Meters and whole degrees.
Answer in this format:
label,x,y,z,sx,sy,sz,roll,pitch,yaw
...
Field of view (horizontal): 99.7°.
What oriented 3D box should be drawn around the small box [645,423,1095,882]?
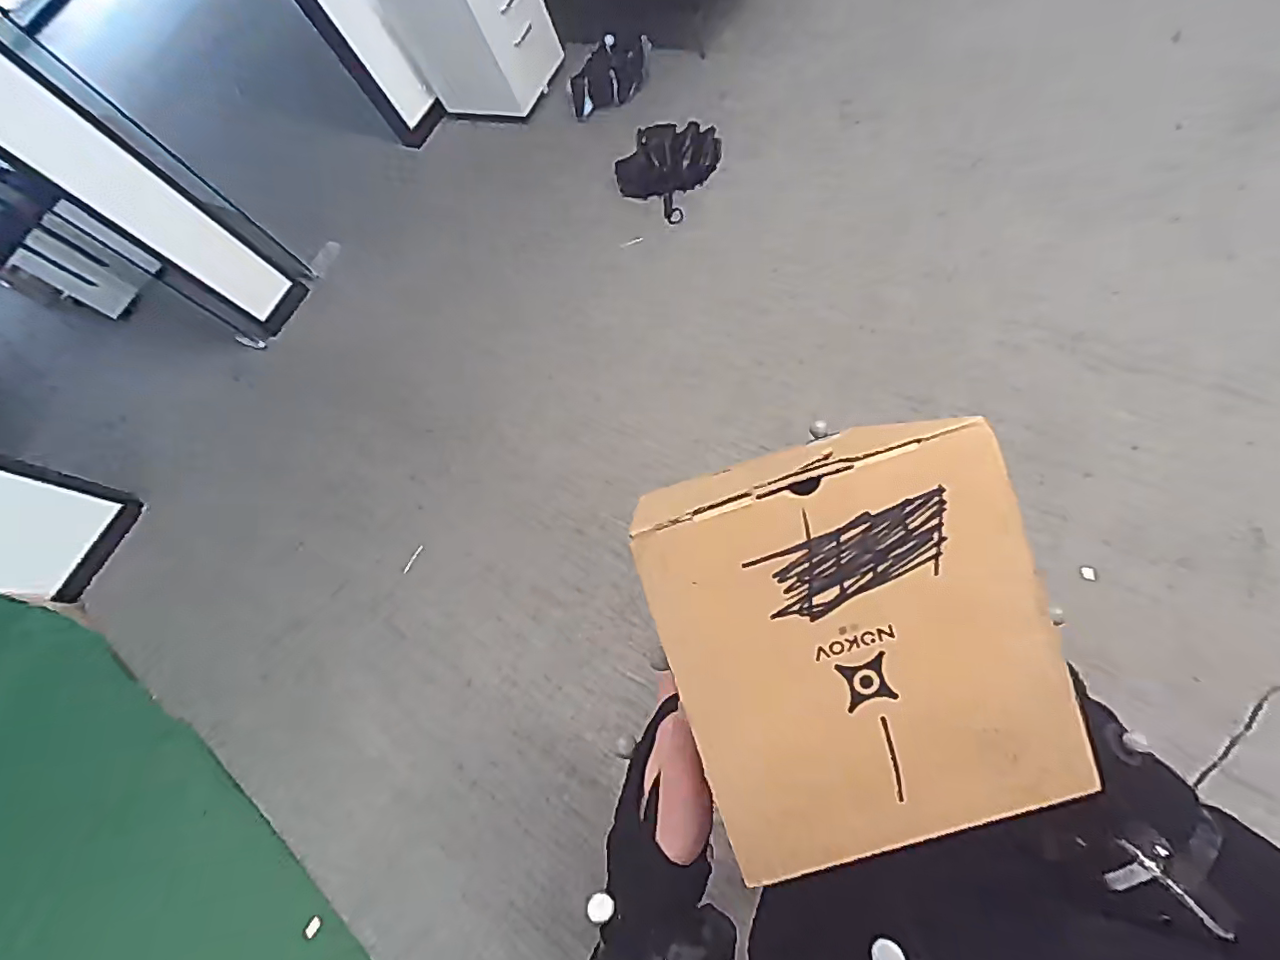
label,x,y,z,sx,sy,sz,roll,pitch,yaw
small box,0.104,0.076,0.323,0.168,0.176,0.179,-18,93,3
